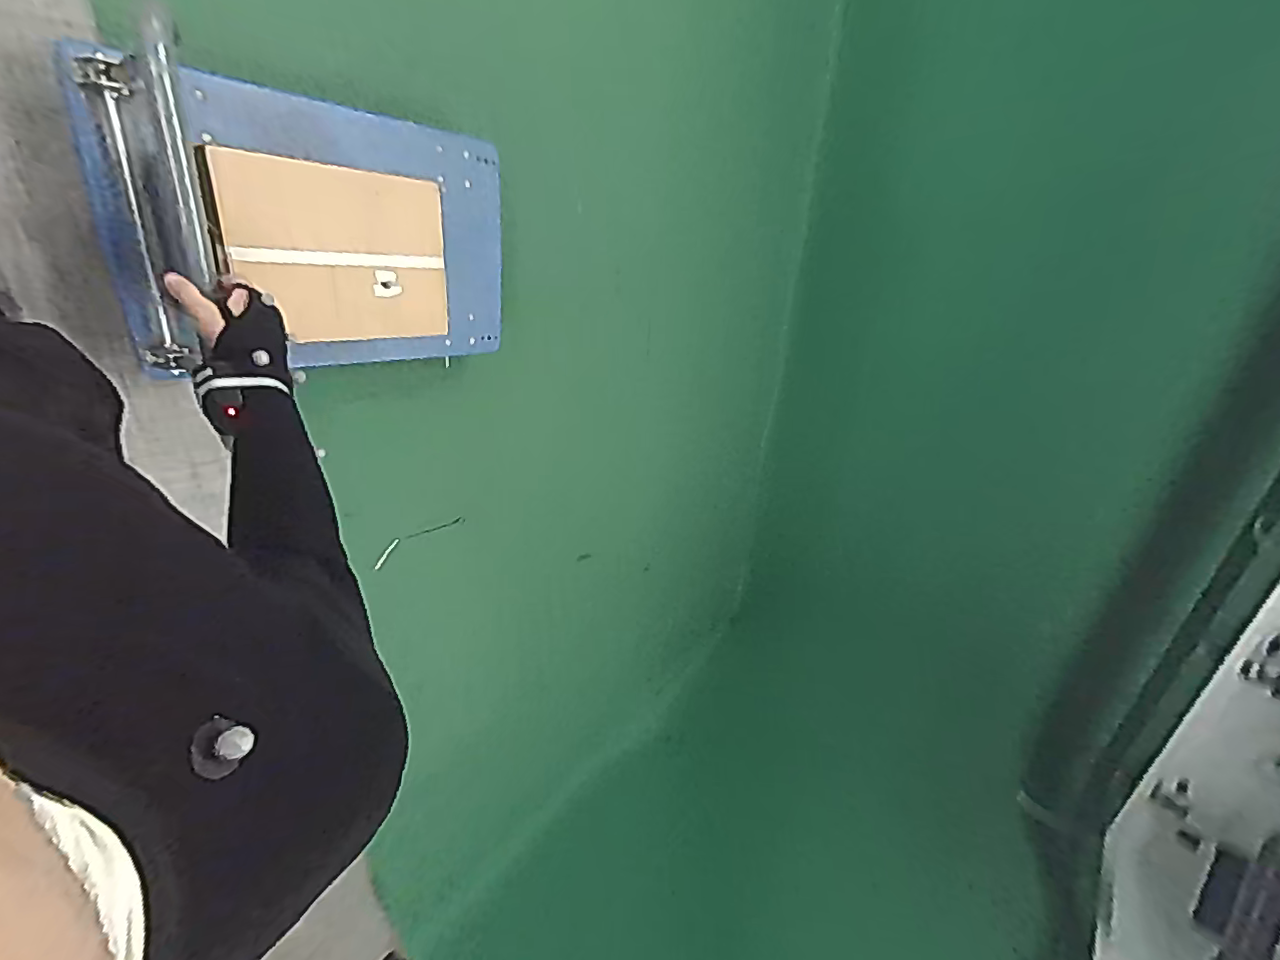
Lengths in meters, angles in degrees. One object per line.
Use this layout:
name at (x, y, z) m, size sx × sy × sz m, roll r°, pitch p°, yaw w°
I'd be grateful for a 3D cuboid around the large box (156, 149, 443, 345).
large box at (-0.687, -0.476, 1.135) m, size 0.408 × 0.320 × 0.320 m, roll -21°, pitch 124°, yaw -47°
